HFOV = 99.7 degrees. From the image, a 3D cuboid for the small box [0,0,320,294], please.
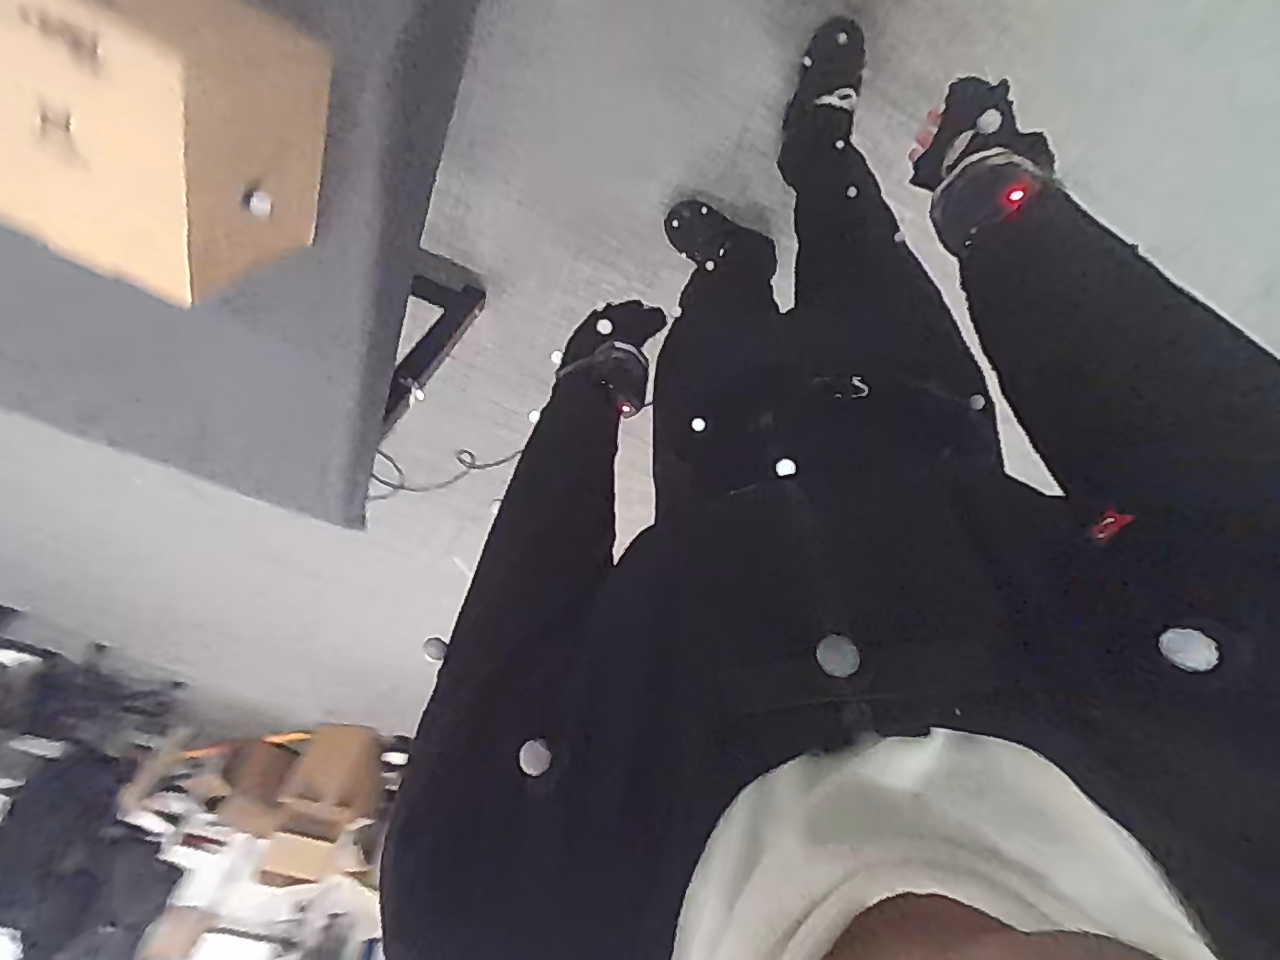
[{"bbox_3d":[-0.375,-0.284,0.412,0.168,0.176,0.179,26,129,-13],"label":"small box"}]
